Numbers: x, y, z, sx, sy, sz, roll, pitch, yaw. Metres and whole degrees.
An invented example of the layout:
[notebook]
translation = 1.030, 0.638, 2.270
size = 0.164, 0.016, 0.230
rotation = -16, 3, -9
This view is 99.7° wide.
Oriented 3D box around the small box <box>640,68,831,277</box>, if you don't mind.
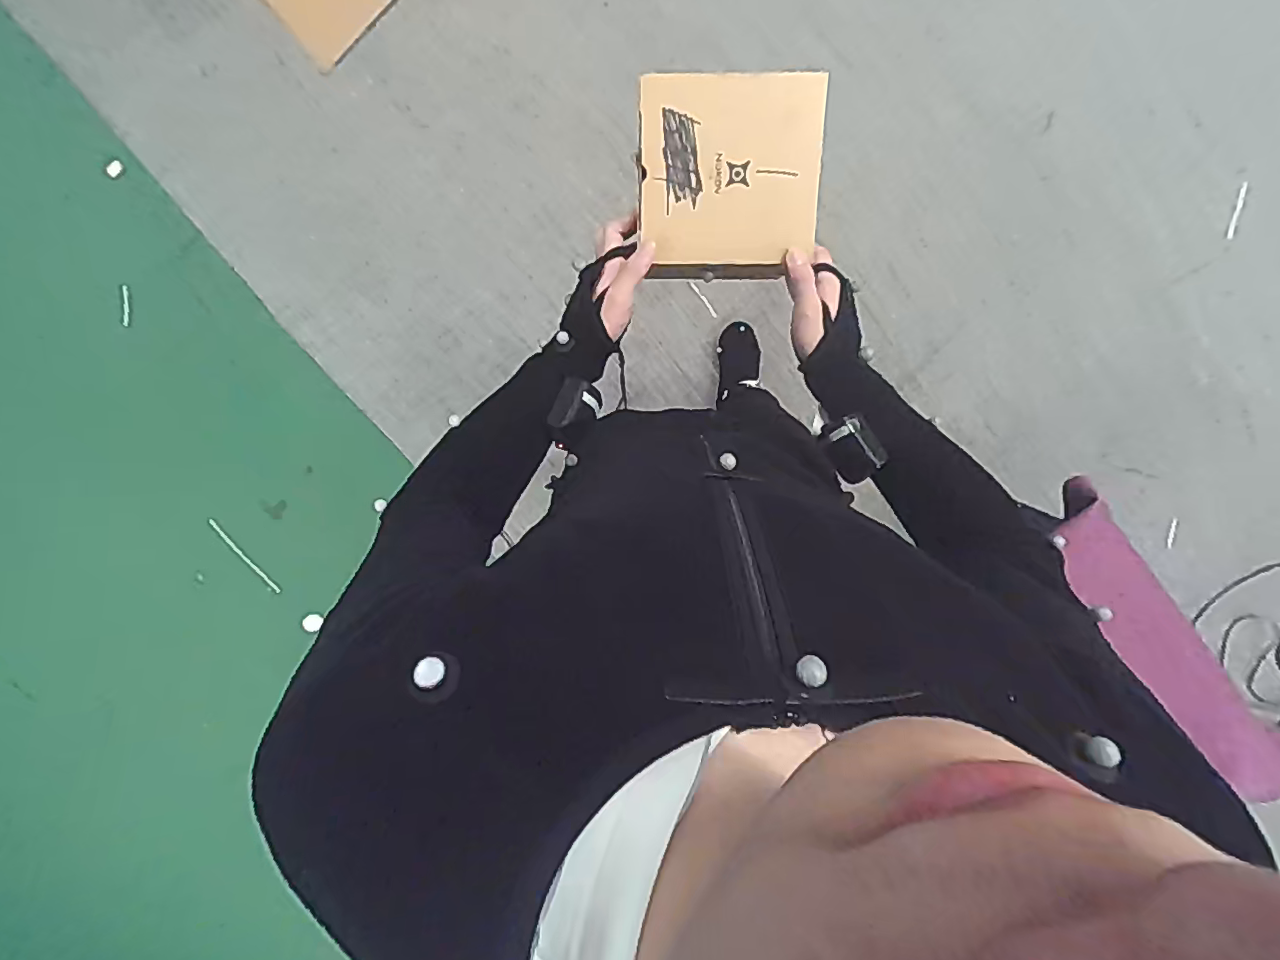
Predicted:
[small box]
translation = 0.091, -0.318, 0.592
size = 0.179, 0.176, 0.168
rotation = 0, 106, 2
